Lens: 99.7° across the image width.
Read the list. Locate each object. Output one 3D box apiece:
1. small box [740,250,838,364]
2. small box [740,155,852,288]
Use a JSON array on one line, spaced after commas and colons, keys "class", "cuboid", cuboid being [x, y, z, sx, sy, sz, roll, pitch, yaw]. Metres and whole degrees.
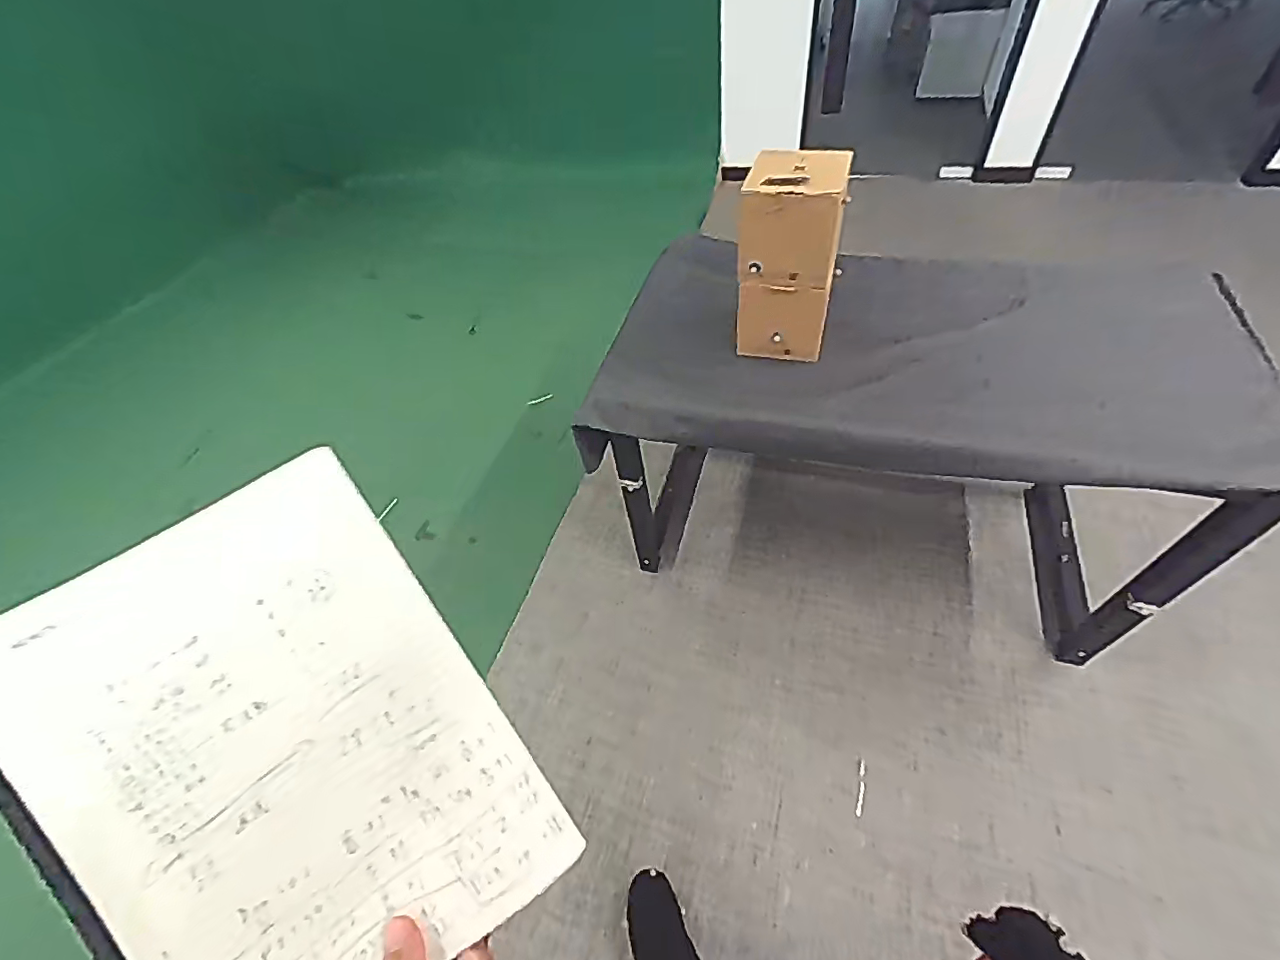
[{"class": "small box", "cuboid": [0.303, -0.365, 1.115, 0.168, 0.176, 0.179, 10, 52, 16]}, {"class": "small box", "cuboid": [0.283, -0.473, 0.993, 0.168, 0.176, 0.179, 11, 52, 17]}]
